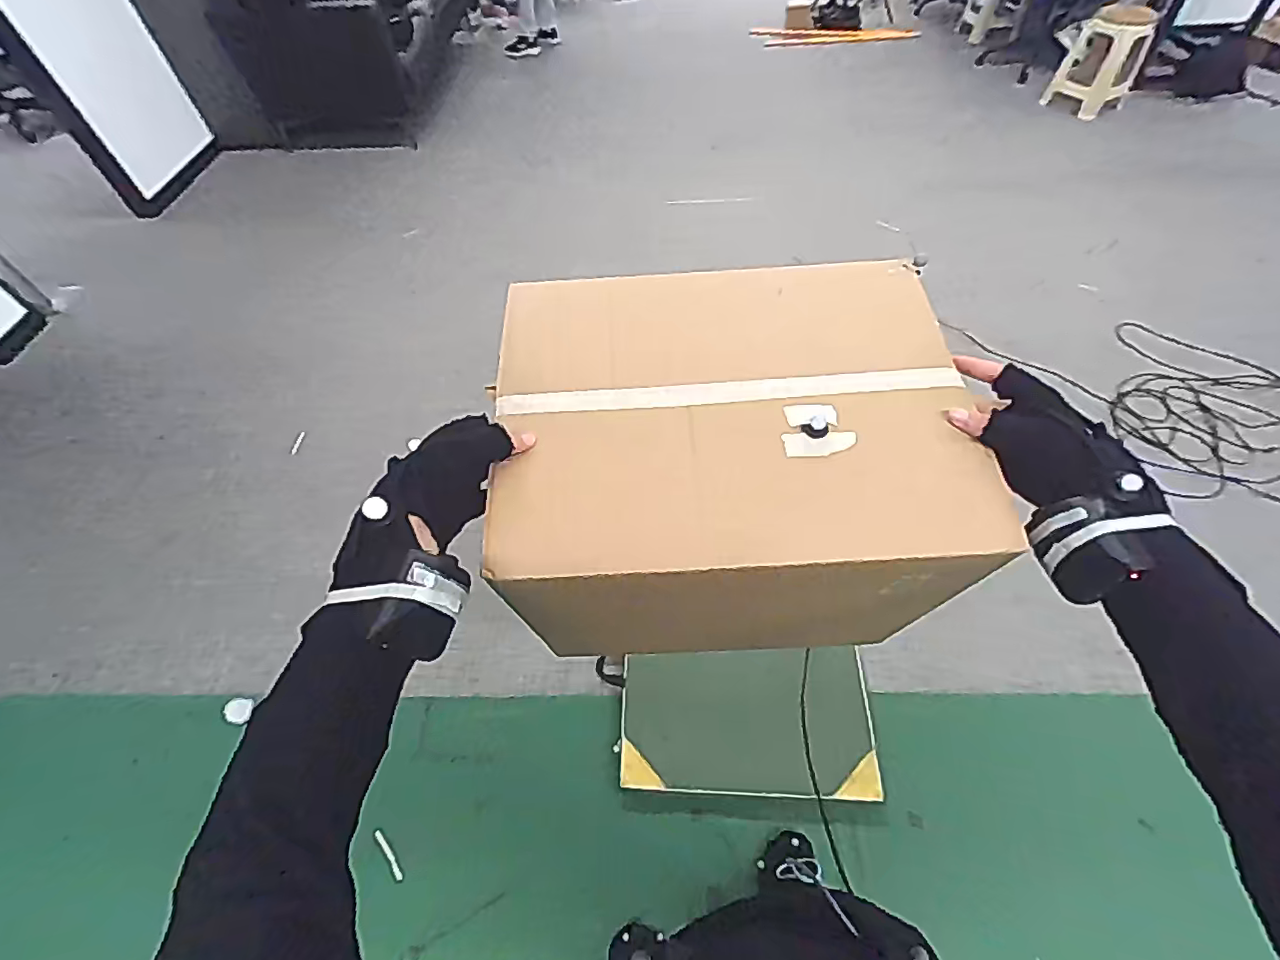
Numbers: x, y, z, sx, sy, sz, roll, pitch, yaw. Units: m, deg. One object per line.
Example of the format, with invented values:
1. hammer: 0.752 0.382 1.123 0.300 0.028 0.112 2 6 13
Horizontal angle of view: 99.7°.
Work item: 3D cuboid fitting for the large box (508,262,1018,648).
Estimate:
1. large box: 0.089 -0.007 0.614 0.408 0.320 0.320 -3 62 0
